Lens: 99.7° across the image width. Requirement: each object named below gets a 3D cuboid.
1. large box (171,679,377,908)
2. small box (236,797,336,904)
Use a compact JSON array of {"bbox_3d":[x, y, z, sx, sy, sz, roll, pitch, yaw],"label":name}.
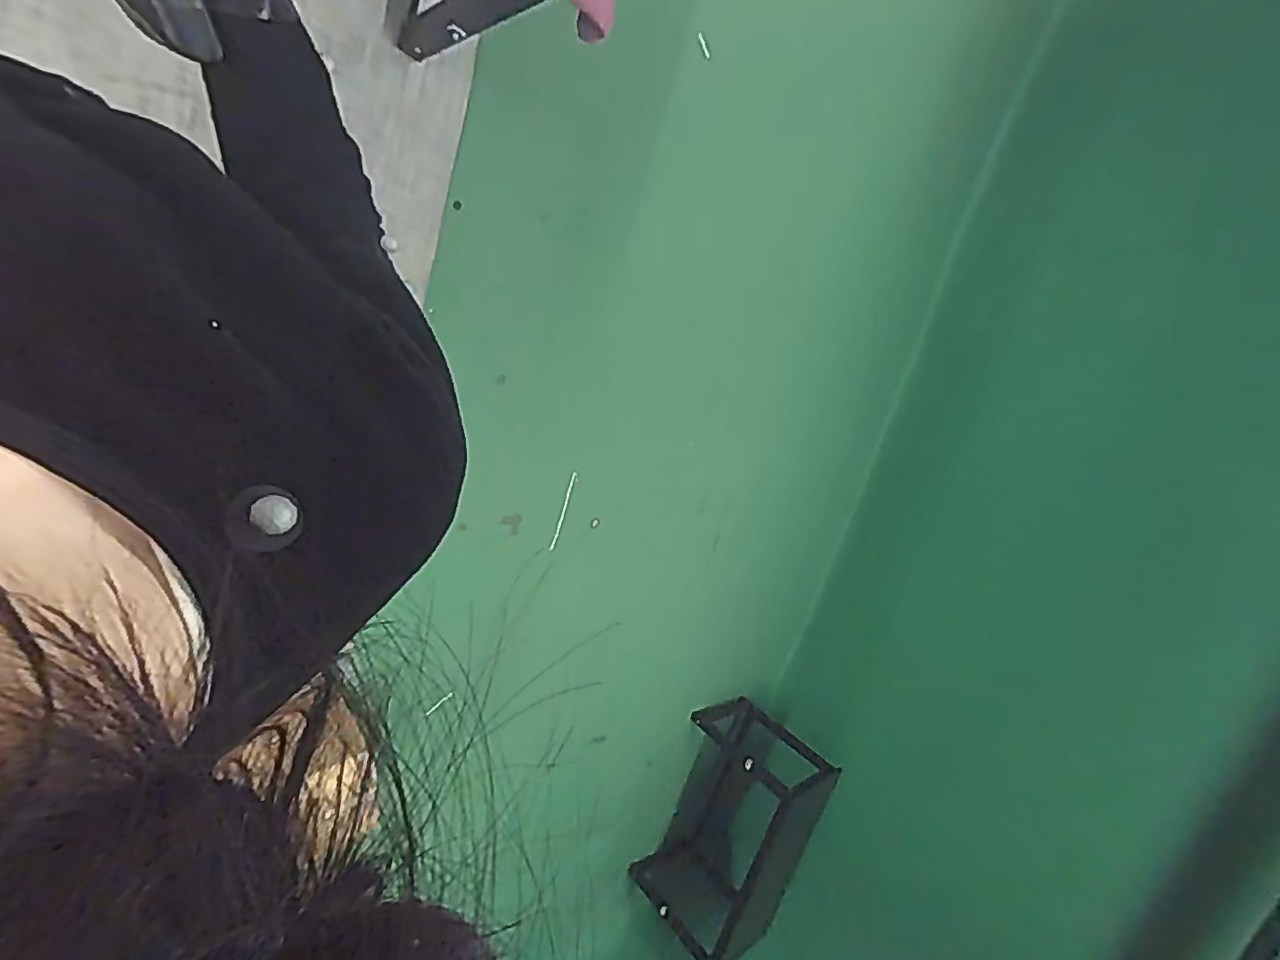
[{"bbox_3d":[-1.002,0.833,1.502,0.408,0.320,0.320,-13,120,-41],"label":"large box"},{"bbox_3d":[-0.864,0.924,1.320,0.179,0.176,0.168,-8,114,-41],"label":"small box"}]
